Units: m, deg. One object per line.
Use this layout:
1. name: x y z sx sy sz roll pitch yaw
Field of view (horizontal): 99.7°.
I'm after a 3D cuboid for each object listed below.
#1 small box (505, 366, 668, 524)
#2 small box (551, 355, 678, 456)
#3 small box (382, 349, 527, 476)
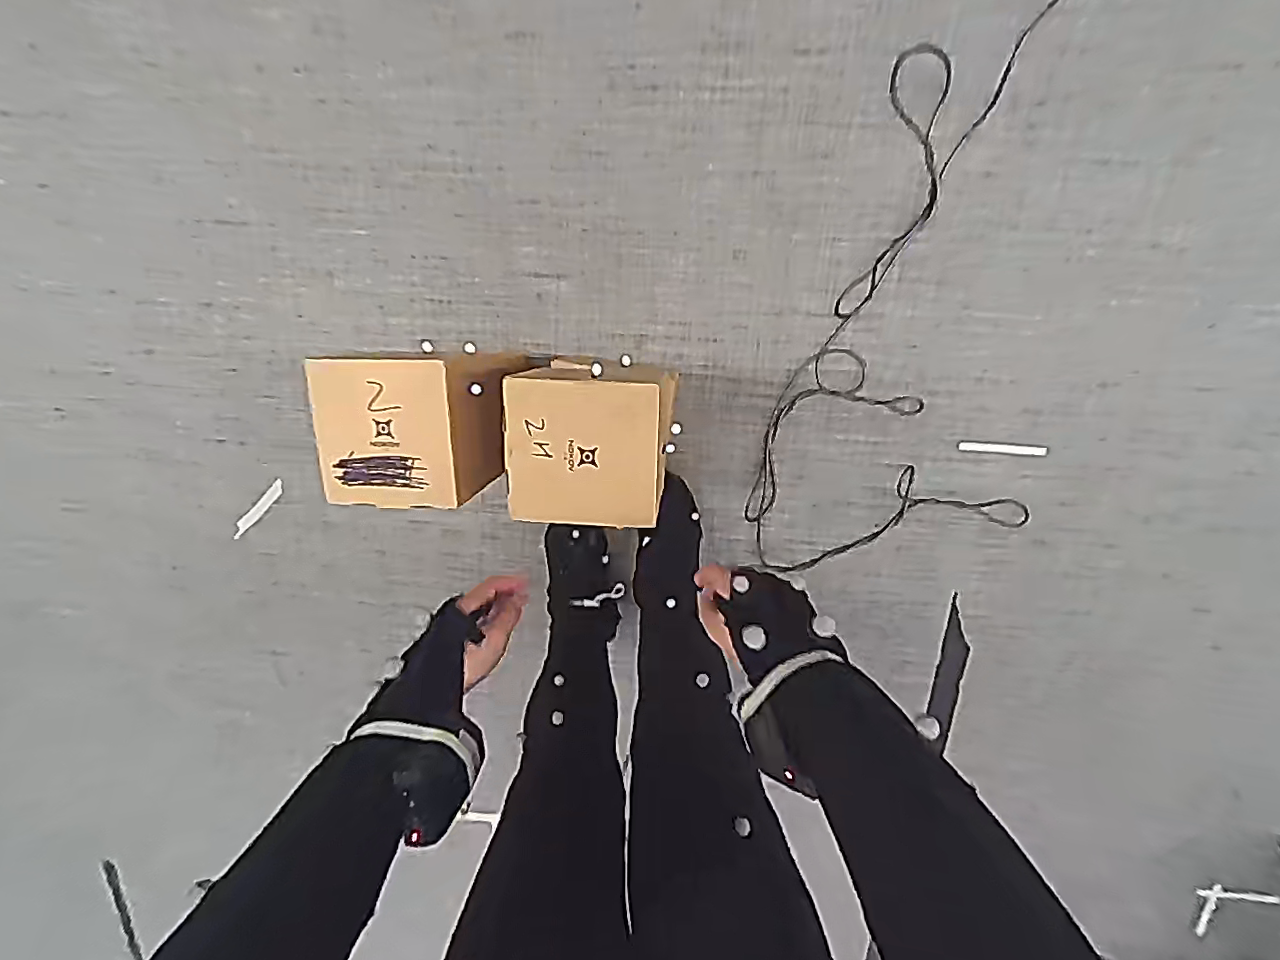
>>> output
1. small box: -0.056 -0.054 0.676 0.179 0.176 0.168 3 105 5
2. small box: -0.040 -0.098 0.834 0.179 0.176 0.168 9 106 2
3. small box: -0.272 -0.113 0.854 0.168 0.176 0.179 -3 106 6
